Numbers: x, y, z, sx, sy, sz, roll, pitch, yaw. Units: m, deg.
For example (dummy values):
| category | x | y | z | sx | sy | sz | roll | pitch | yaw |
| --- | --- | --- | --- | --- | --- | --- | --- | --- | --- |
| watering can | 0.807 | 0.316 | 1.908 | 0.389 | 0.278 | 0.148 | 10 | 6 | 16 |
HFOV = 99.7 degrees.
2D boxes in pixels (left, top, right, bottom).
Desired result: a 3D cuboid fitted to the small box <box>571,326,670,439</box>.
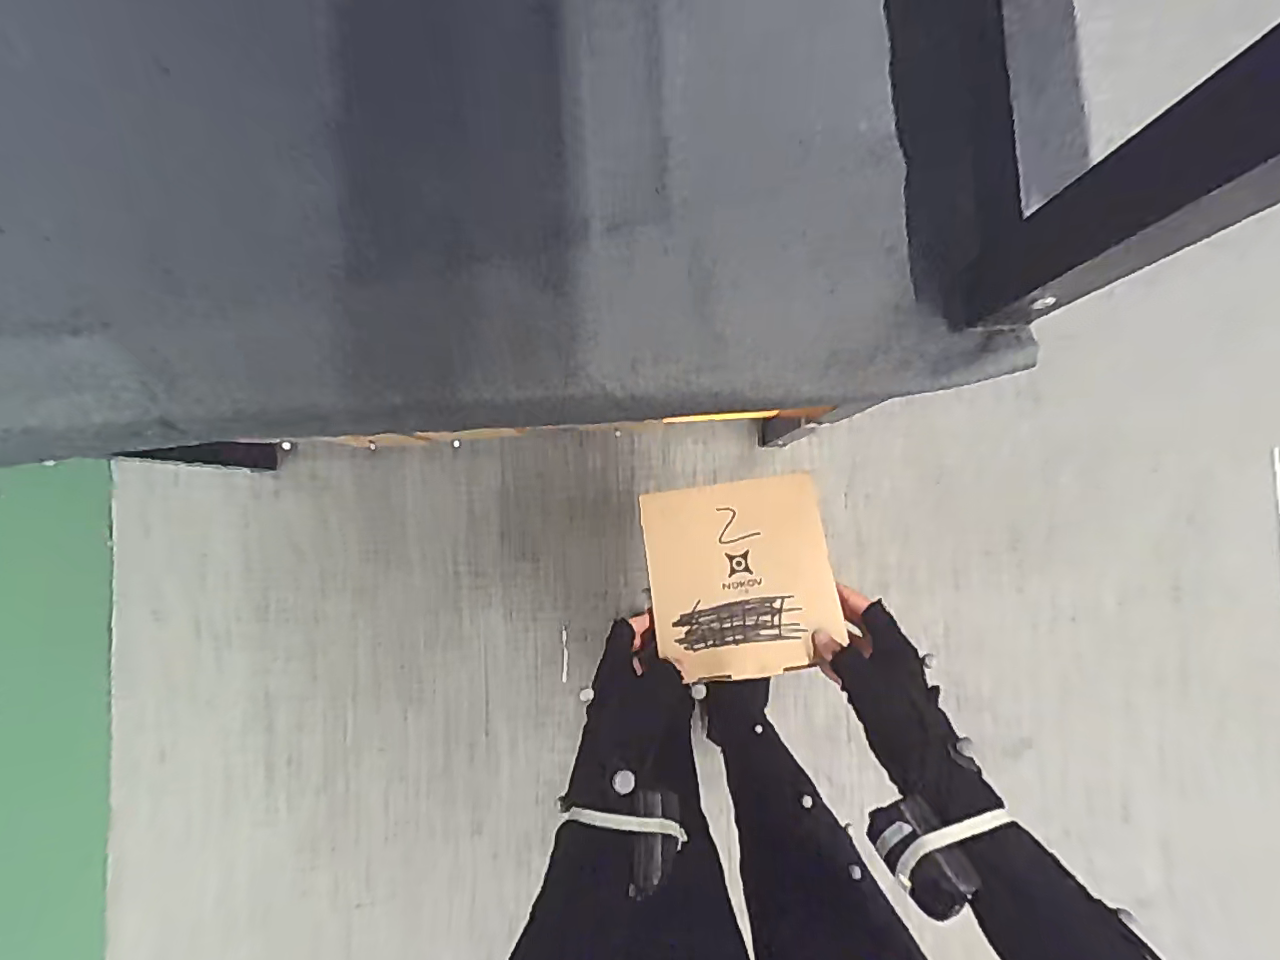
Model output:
| category | x | y | z | sx | sy | sz | roll | pitch | yaw |
| --- | --- | --- | --- | --- | --- | --- | --- | --- | --- |
| small box | -0.031 | -0.174 | 1.008 | 0.168 | 0.176 | 0.179 | 2 | 89 | 3 |
